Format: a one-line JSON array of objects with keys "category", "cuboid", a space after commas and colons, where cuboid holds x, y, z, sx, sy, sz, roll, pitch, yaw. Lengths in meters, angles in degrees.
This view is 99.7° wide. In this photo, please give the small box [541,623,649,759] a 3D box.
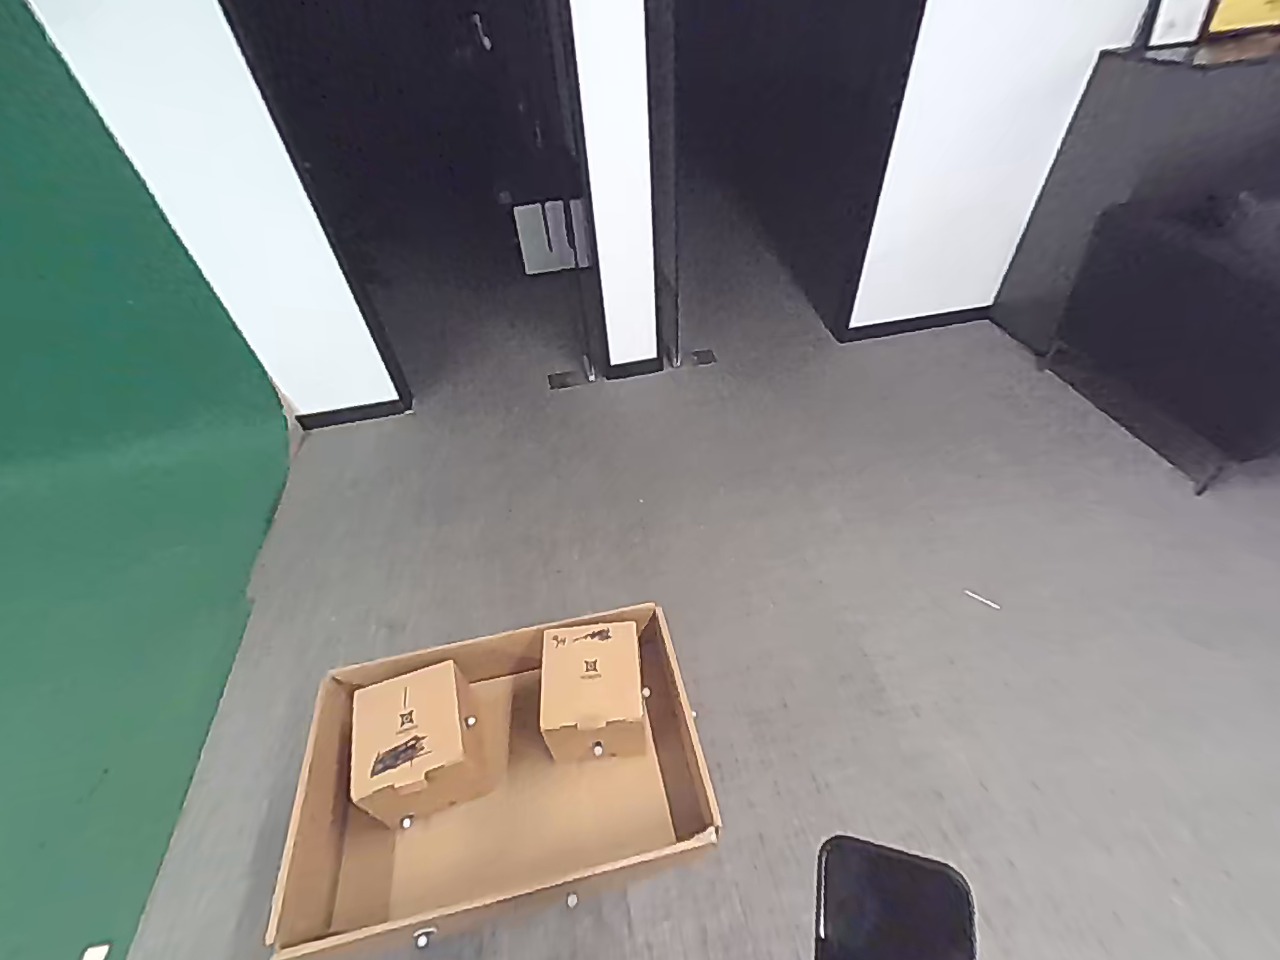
[{"category": "small box", "cuboid": [-0.074, 0.378, 0.957, 0.168, 0.176, 0.179, -6, 46, -1]}]
